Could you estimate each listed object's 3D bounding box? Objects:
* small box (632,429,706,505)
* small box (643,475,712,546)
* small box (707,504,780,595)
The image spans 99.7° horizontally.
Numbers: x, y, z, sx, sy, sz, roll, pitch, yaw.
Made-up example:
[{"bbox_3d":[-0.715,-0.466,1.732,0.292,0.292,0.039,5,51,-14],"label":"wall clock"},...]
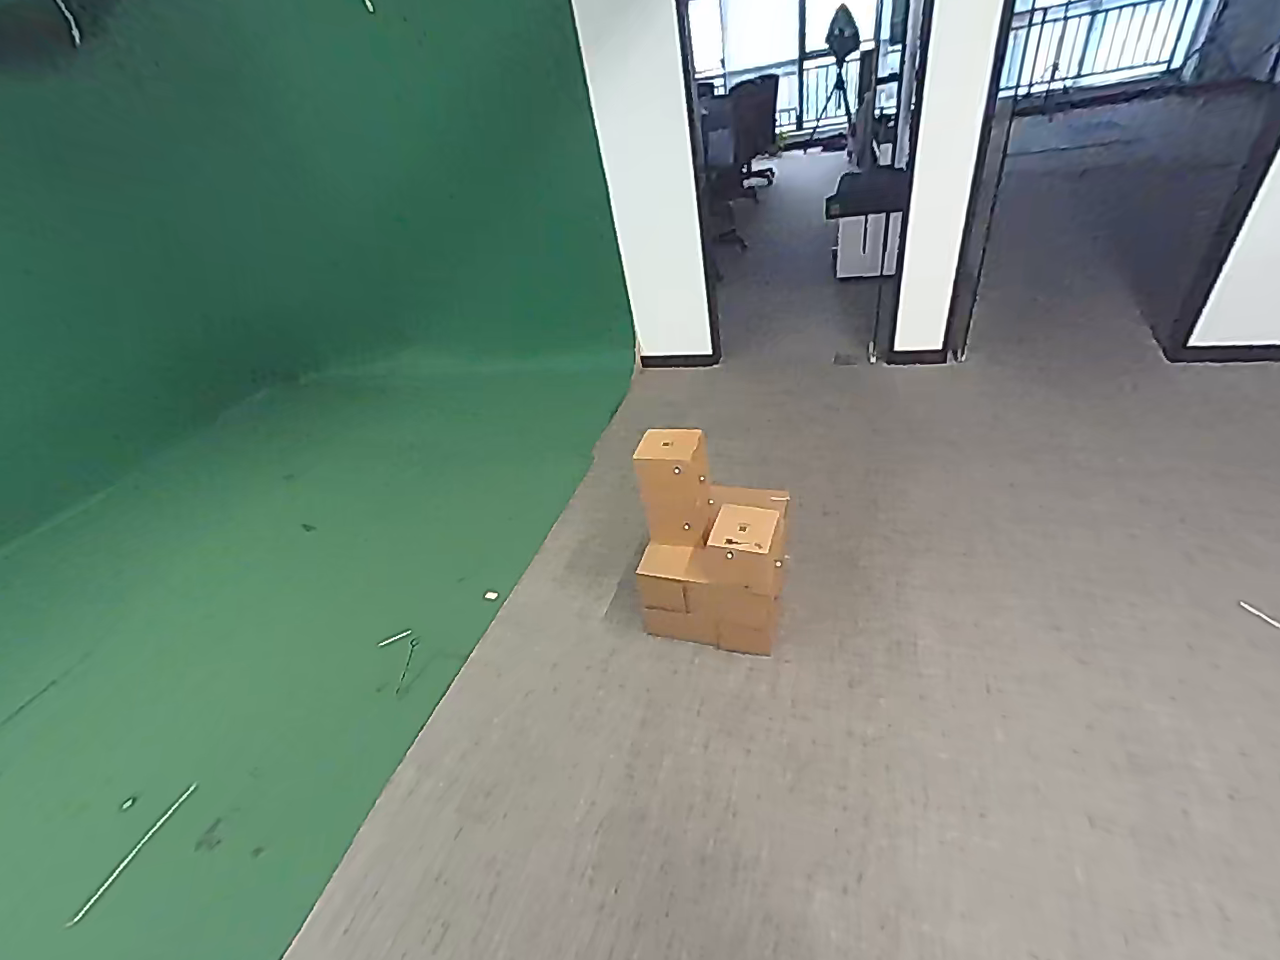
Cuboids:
[{"bbox_3d":[0.094,-0.038,1.631,0.179,0.176,0.168,3,38,20],"label":"small box"},{"bbox_3d":[0.127,0.094,1.721,0.179,0.176,0.168,2,37,20],"label":"small box"},{"bbox_3d":[0.297,0.195,1.533,0.168,0.176,0.179,7,40,23],"label":"small box"}]
